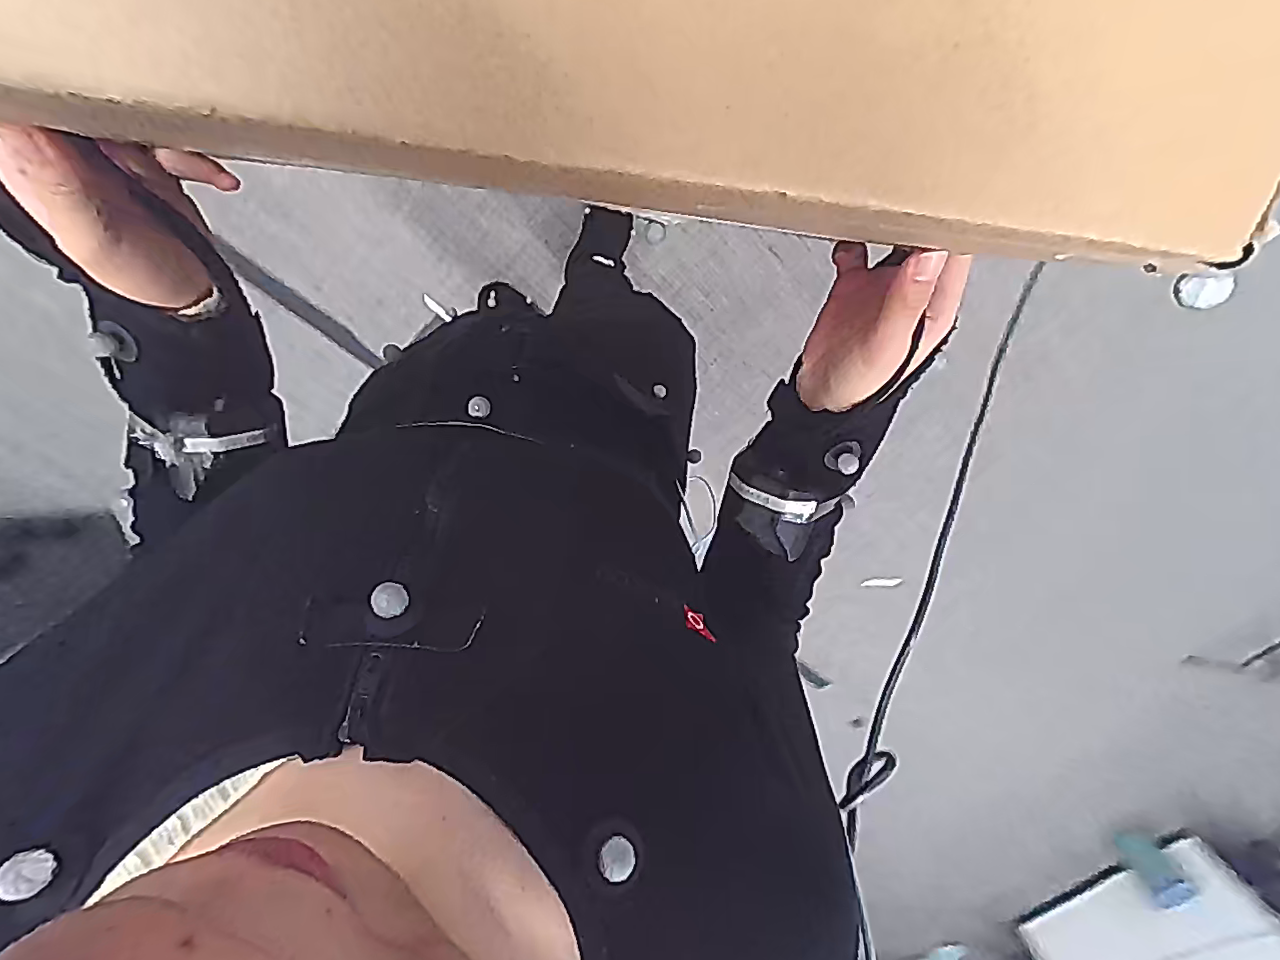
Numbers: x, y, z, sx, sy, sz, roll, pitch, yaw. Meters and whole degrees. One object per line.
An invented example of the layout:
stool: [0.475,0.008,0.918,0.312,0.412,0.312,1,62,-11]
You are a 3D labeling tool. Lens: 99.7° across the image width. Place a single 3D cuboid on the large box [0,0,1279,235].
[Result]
large box: [-0.025,-0.282,0.180,0.408,0.320,0.320,5,116,-7]
